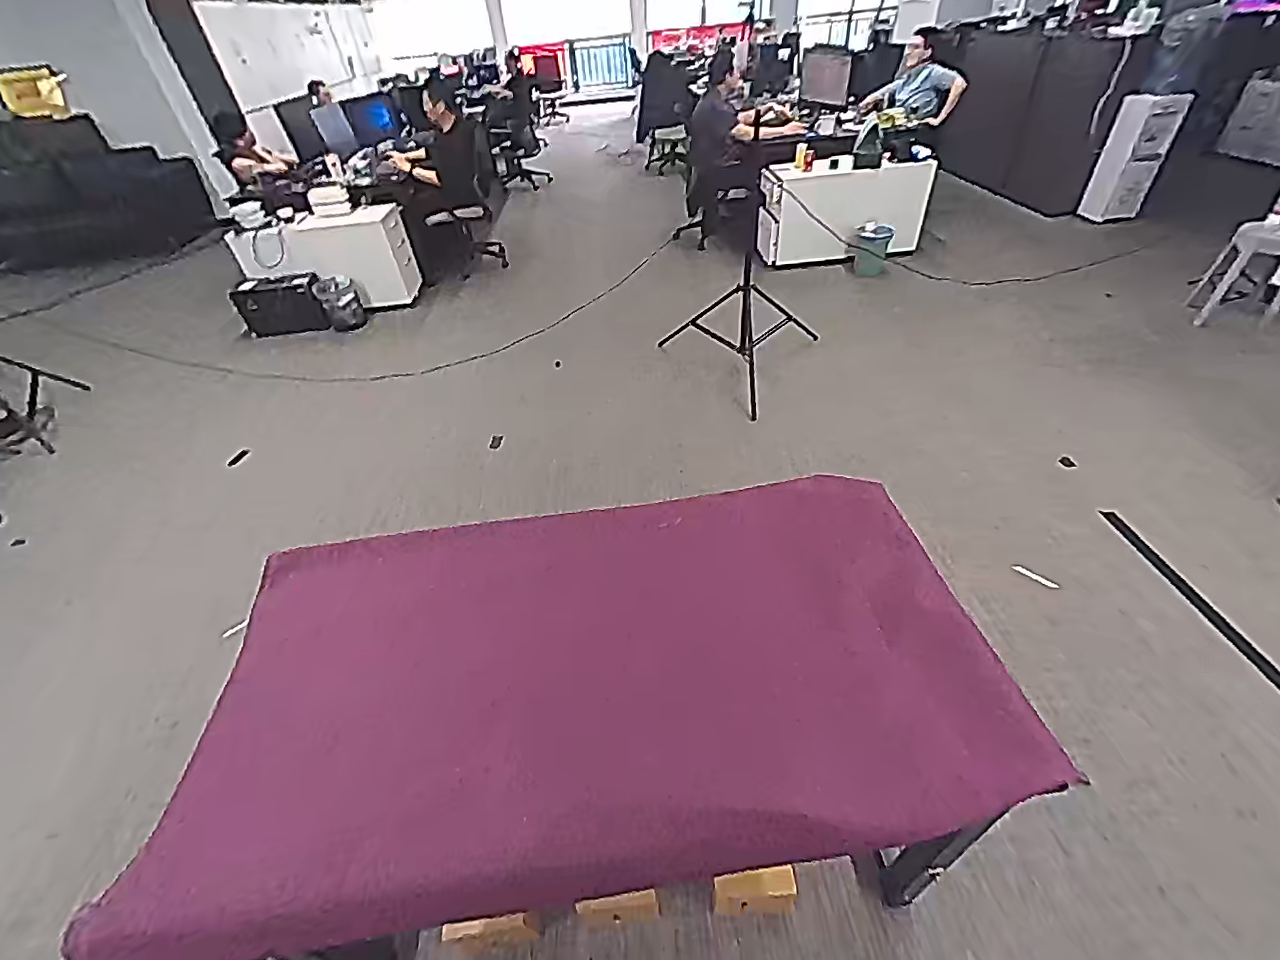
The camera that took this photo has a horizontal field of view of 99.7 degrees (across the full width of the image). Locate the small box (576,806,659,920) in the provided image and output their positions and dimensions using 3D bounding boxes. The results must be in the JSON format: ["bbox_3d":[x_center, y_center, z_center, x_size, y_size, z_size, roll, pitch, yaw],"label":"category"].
[{"bbox_3d":[-0.047,0.862,1.213,0.168,0.176,0.179,-5,41,0],"label":"small box"}]

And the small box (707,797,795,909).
[{"bbox_3d":[0.241,0.838,1.210,0.168,0.176,0.179,-4,41,2],"label":"small box"}]
